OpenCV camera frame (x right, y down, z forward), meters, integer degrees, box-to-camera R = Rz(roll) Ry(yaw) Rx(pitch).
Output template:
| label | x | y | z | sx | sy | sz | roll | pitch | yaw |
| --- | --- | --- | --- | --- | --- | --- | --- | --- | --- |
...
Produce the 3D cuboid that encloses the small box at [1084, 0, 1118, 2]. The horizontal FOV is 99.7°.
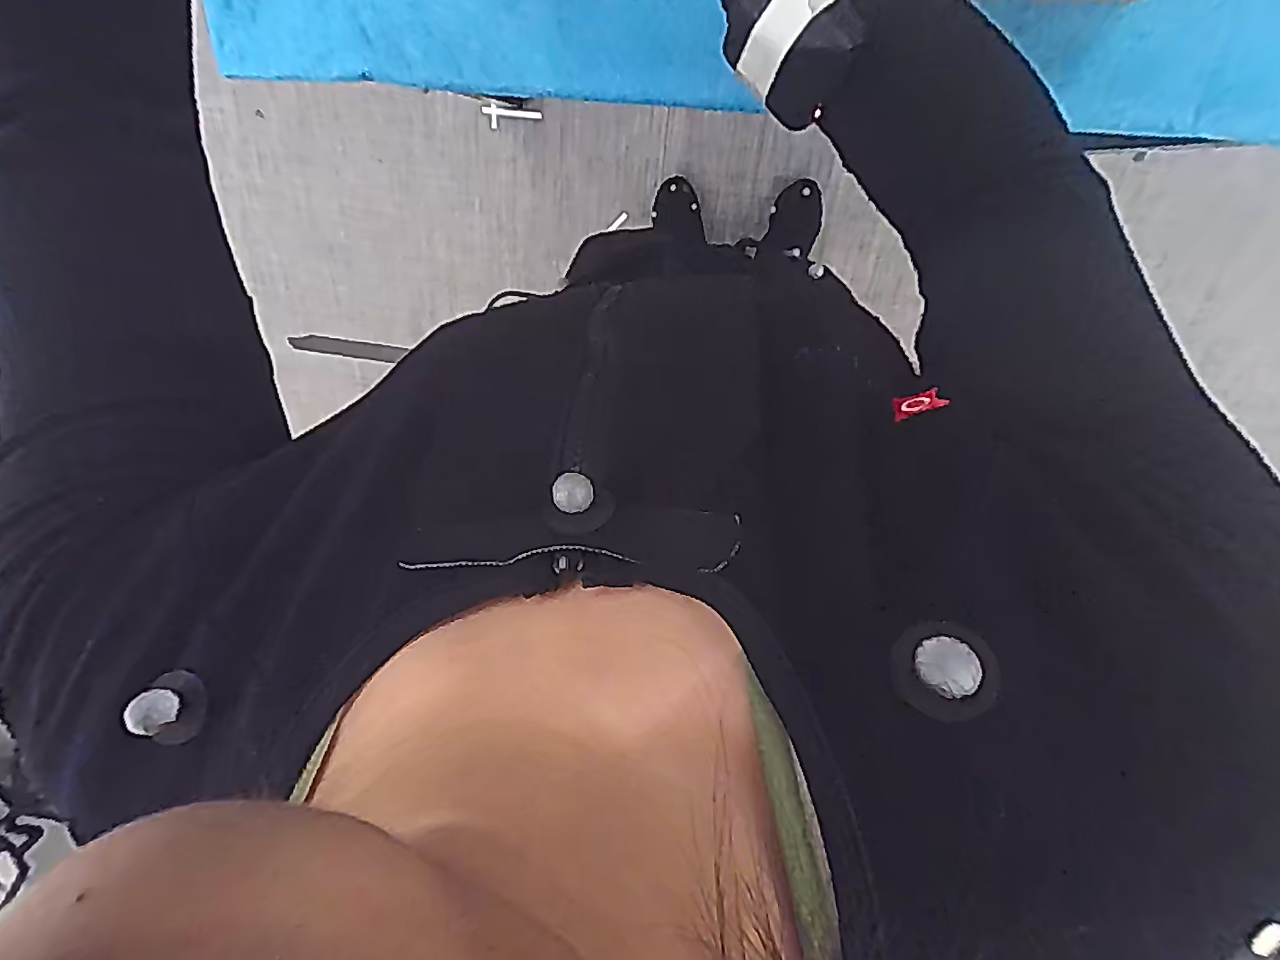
| label | x | y | z | sx | sy | sz | roll | pitch | yaw |
| --- | --- | --- | --- | --- | --- | --- | --- | --- | --- |
| small box | 0.343 | -0.456 | 0.367 | 0.179 | 0.176 | 0.168 | 8 | 121 | 4 |
